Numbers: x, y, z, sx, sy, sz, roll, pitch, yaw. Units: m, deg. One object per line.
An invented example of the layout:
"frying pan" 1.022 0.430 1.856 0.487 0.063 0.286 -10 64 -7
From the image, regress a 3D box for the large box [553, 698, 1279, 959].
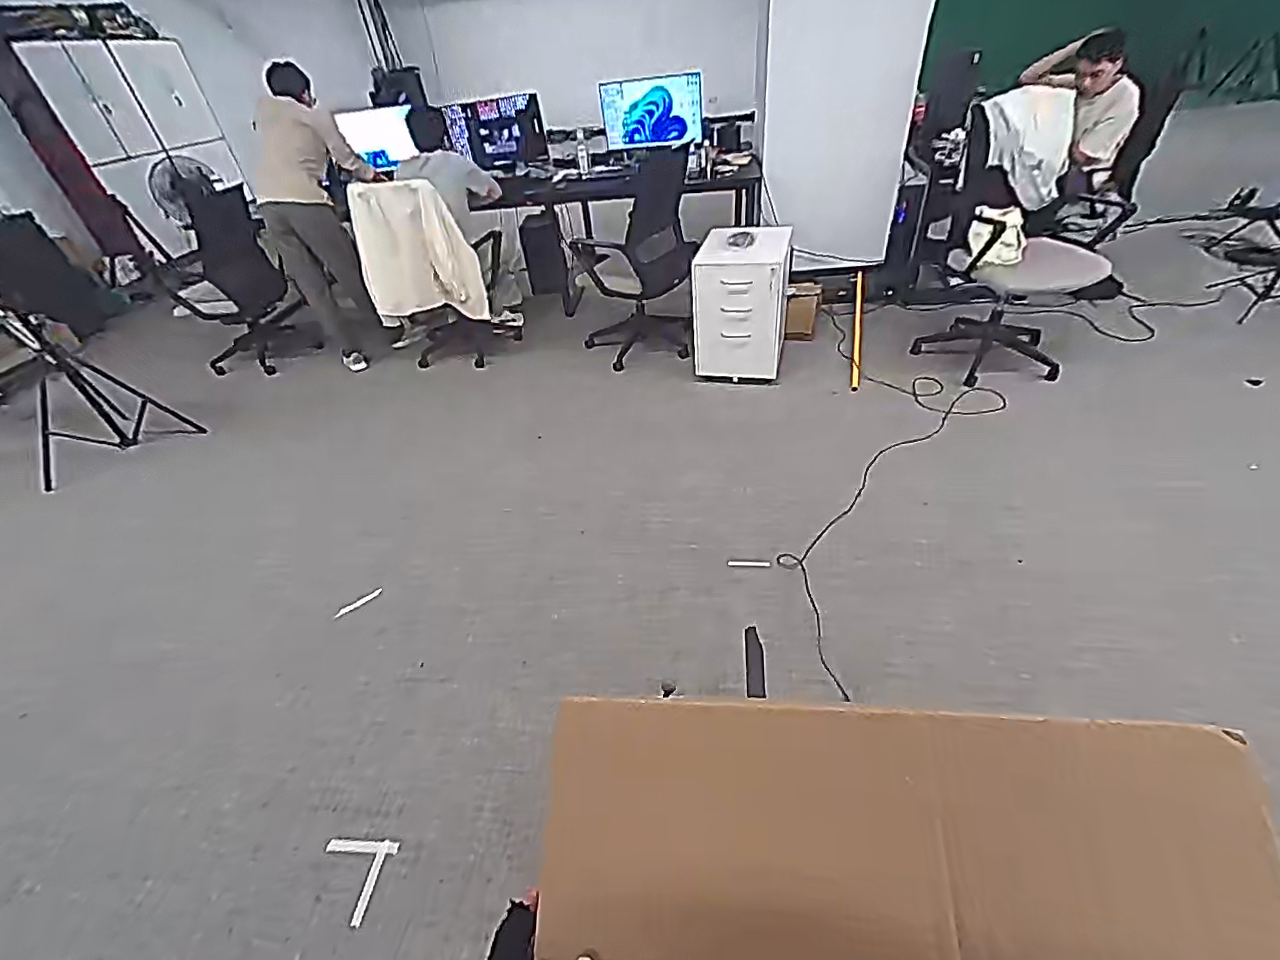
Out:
"large box" 0.165 0.348 0.435 0.408 0.320 0.320 -2 69 11
